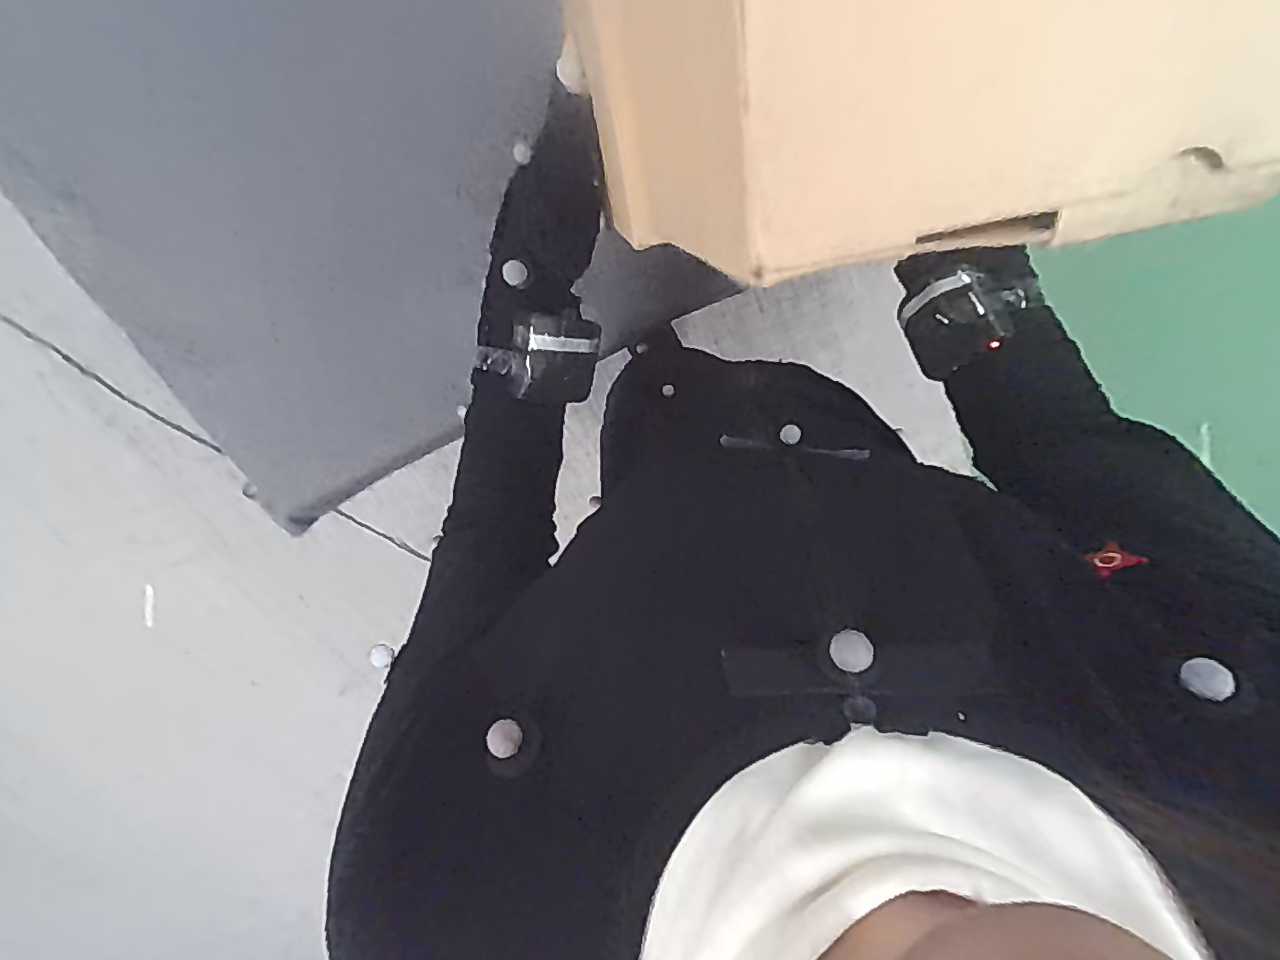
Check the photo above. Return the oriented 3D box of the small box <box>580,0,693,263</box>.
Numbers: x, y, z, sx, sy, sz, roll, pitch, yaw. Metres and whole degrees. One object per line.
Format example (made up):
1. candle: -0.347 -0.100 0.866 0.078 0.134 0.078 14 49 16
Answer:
1. small box: 0.065 -0.227 0.289 0.179 0.176 0.168 -11 119 0
